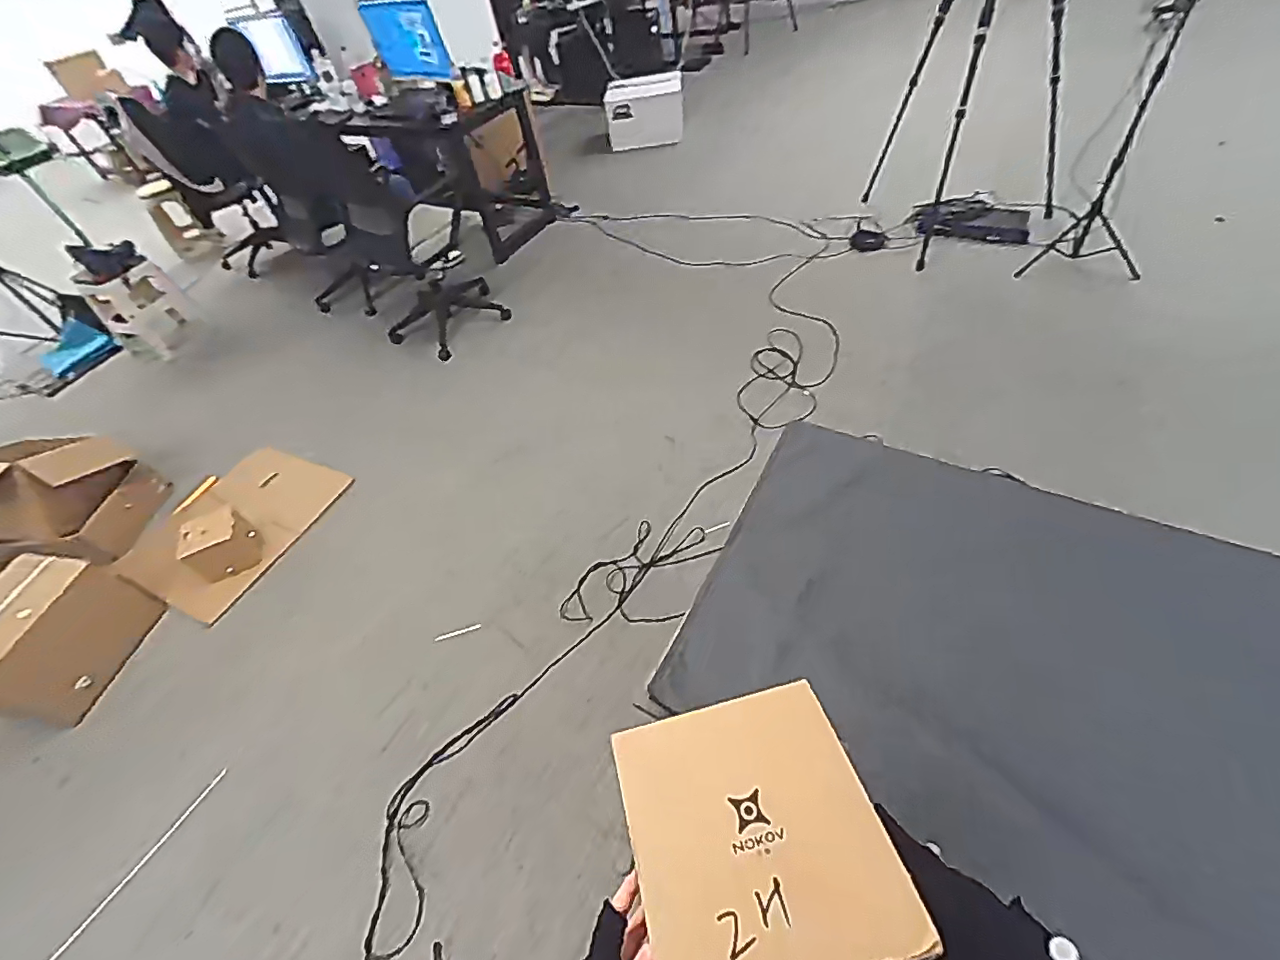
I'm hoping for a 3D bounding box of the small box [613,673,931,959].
[{"bbox_3d":[0.081,0.287,0.420,0.168,0.176,0.179,-13,41,-6],"label":"small box"}]
